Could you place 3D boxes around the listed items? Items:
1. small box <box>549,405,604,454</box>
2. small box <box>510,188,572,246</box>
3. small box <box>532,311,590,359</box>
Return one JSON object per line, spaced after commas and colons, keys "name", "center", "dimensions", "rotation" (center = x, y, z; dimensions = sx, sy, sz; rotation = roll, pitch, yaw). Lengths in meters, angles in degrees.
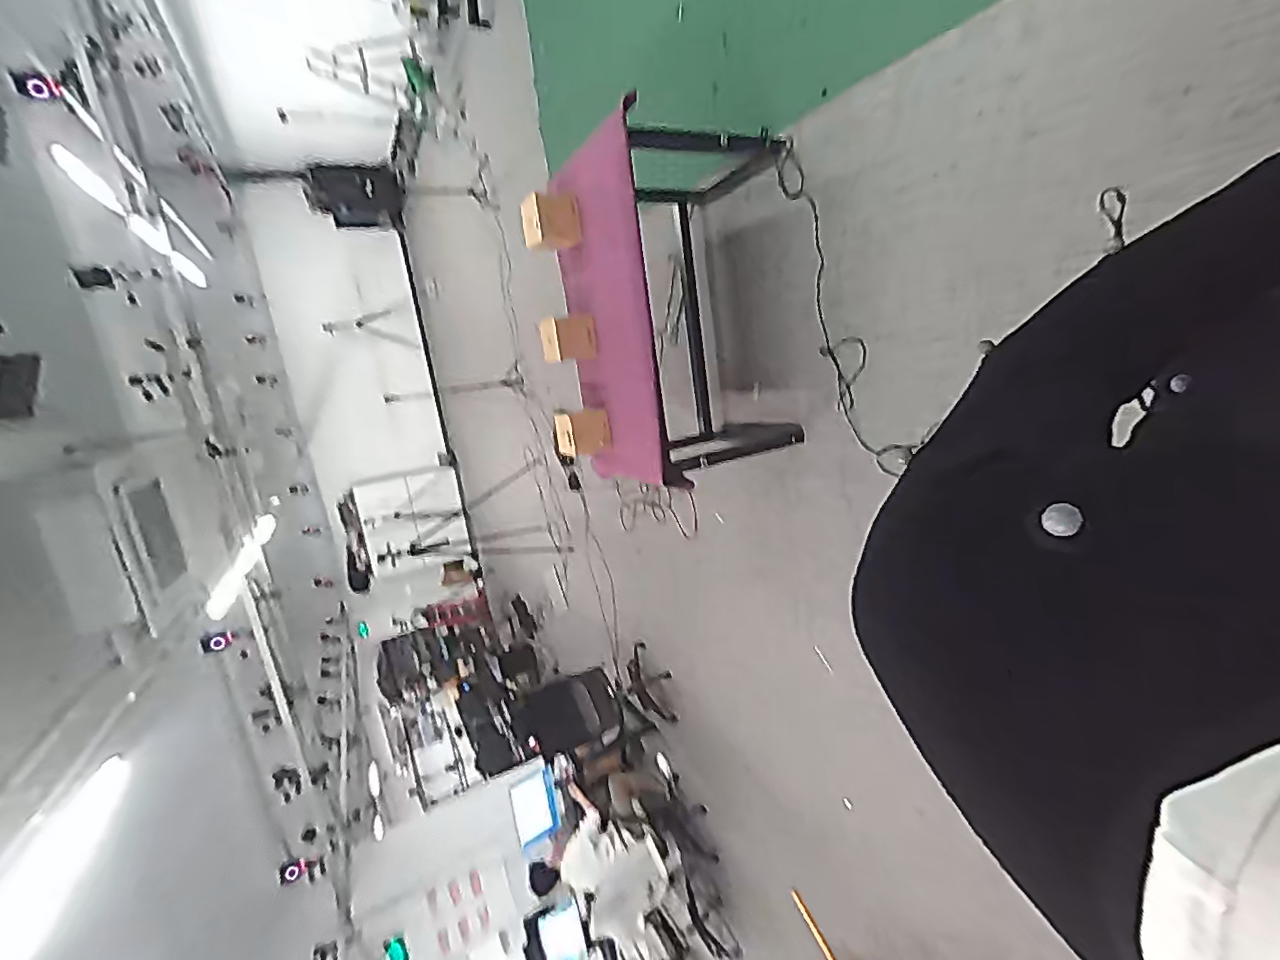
{"name": "small box", "center": [-0.259, -0.215, 2.249], "dimensions": [0.179, 0.176, 0.168], "rotation": [16, 118, 58]}
{"name": "small box", "center": [-0.375, -0.997, 2.053], "dimensions": [0.179, 0.176, 0.168], "rotation": [17, 120, 59]}
{"name": "small box", "center": [-0.316, -0.580, 2.170], "dimensions": [0.179, 0.176, 0.168], "rotation": [19, 121, 57]}
